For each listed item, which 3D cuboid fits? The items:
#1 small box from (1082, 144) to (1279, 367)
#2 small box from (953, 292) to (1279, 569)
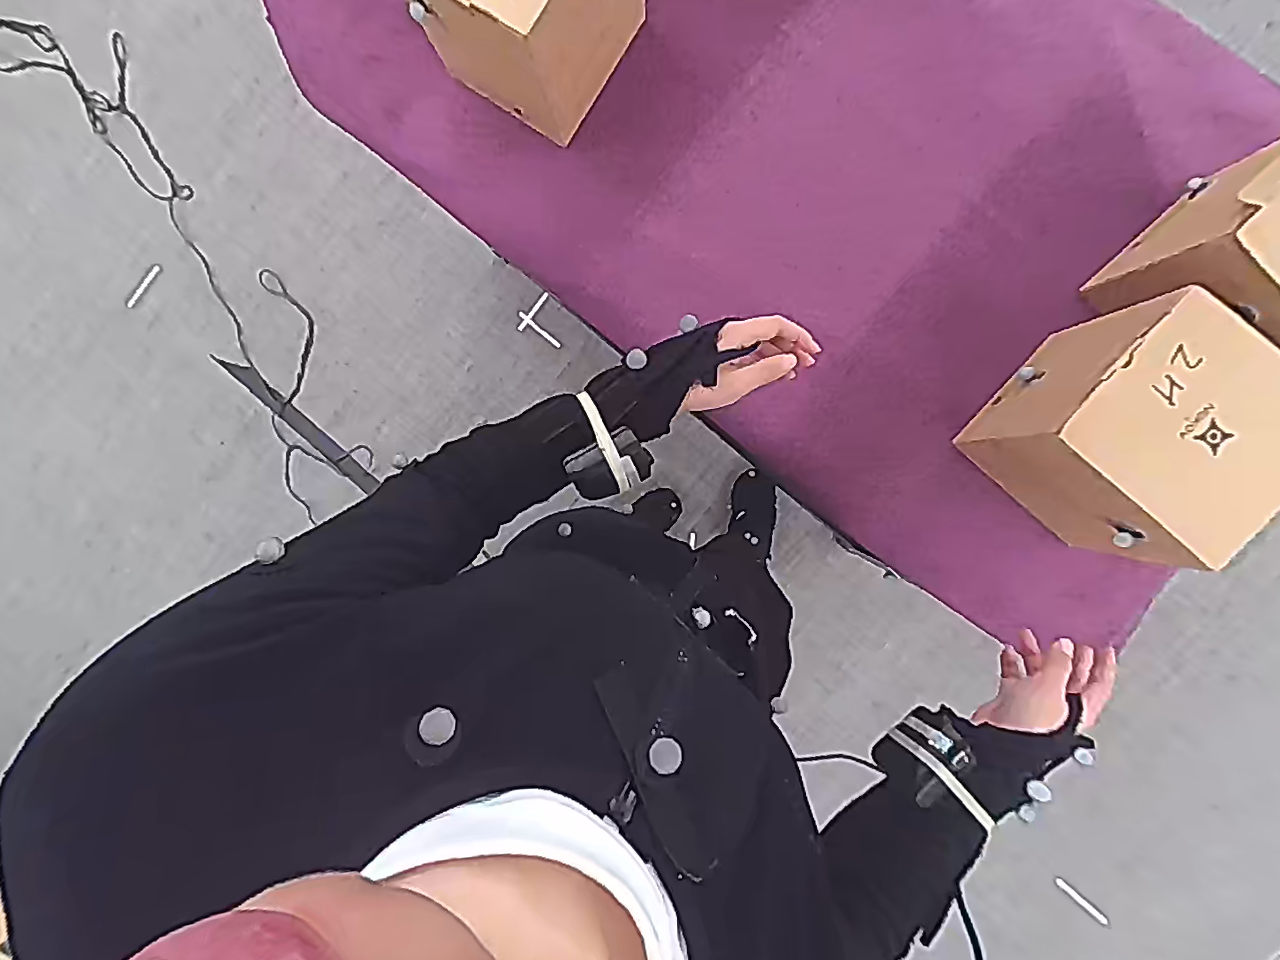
[{"bbox_3d":[0.589,-0.196,0.512,0.168,0.176,0.179,-44,90,6],"label":"small box"},{"bbox_3d":[0.461,-0.043,0.527,0.179,0.176,0.168,42,92,2],"label":"small box"}]
